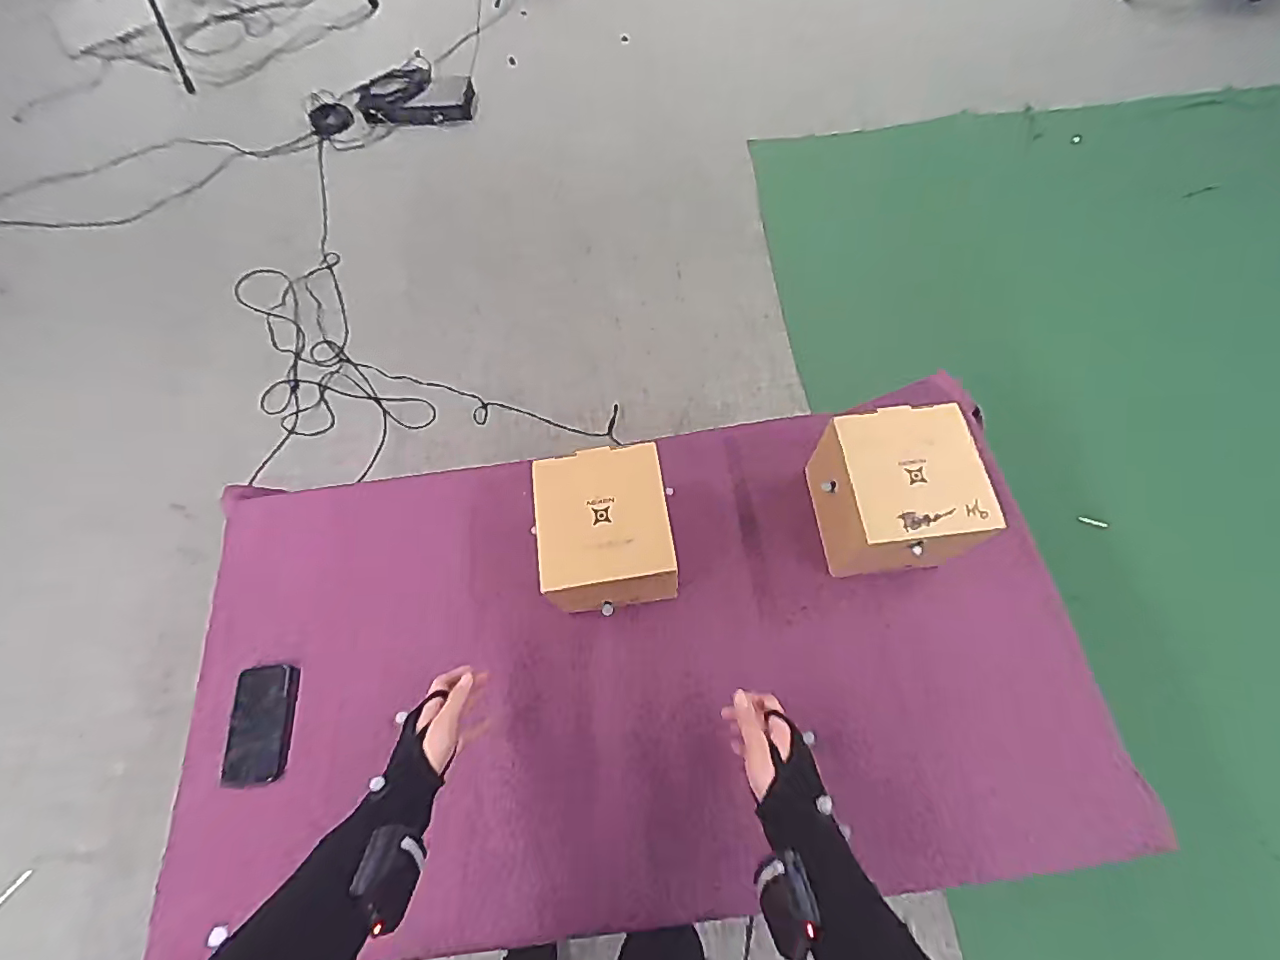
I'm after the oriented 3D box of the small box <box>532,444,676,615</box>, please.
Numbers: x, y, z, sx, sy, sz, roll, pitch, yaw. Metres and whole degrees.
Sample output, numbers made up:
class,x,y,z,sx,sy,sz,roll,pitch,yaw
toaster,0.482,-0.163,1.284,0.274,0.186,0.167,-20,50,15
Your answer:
class,x,y,z,sx,sy,sz,roll,pitch,yaw
small box,-0.045,0.074,0.739,0.168,0.176,0.179,-9,67,1

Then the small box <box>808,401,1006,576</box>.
class,x,y,z,sx,sy,sz,roll,pitch,yaw
small box,0.340,0.018,0.733,0.168,0.176,0.179,-8,65,2
